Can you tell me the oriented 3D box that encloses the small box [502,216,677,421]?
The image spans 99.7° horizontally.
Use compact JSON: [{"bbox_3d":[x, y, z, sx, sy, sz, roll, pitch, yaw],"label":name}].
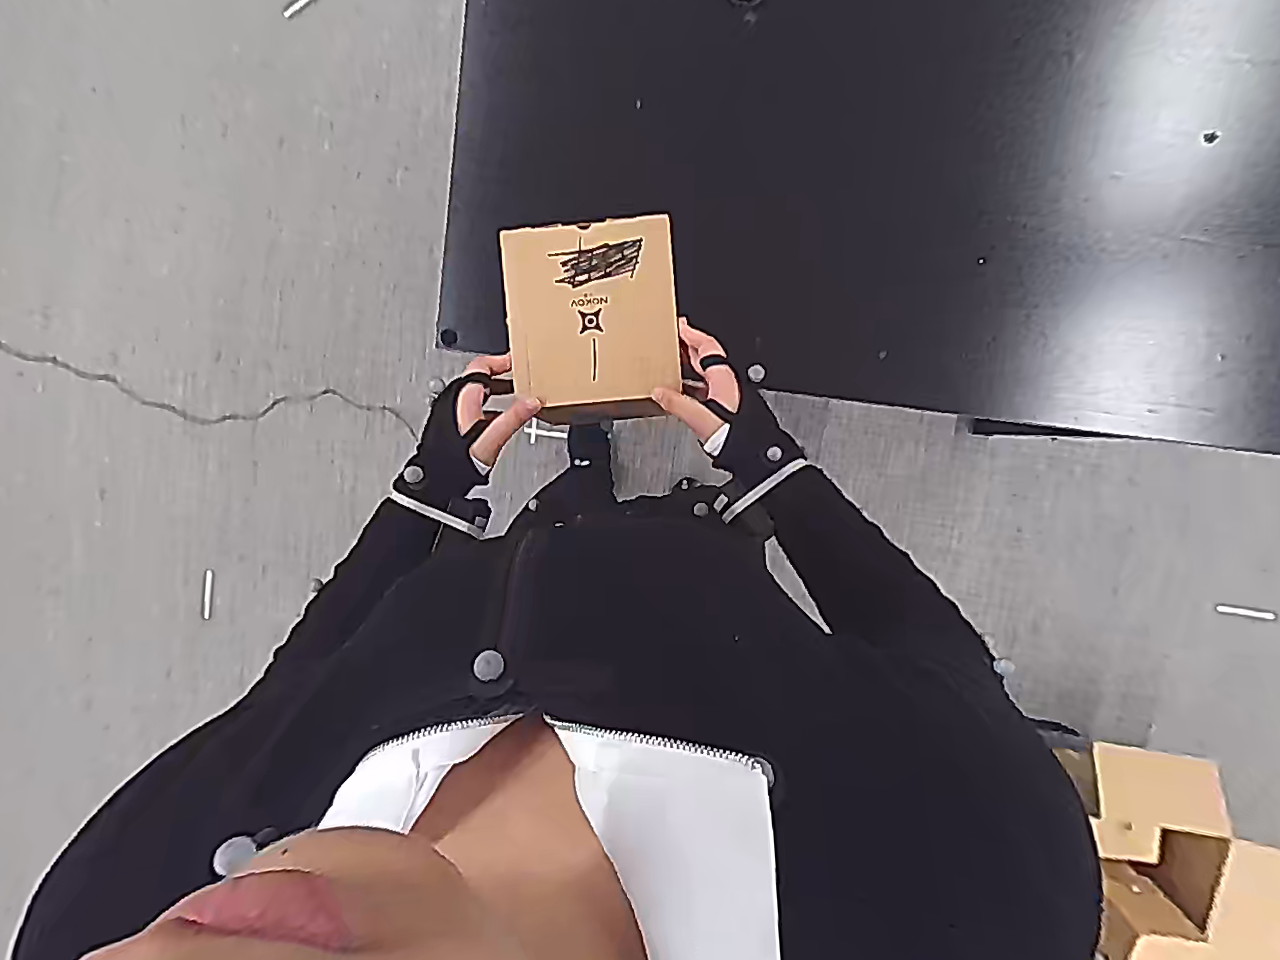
[{"bbox_3d":[-0.047,-0.166,0.608,0.168,0.176,0.179,-4,91,3],"label":"small box"}]
